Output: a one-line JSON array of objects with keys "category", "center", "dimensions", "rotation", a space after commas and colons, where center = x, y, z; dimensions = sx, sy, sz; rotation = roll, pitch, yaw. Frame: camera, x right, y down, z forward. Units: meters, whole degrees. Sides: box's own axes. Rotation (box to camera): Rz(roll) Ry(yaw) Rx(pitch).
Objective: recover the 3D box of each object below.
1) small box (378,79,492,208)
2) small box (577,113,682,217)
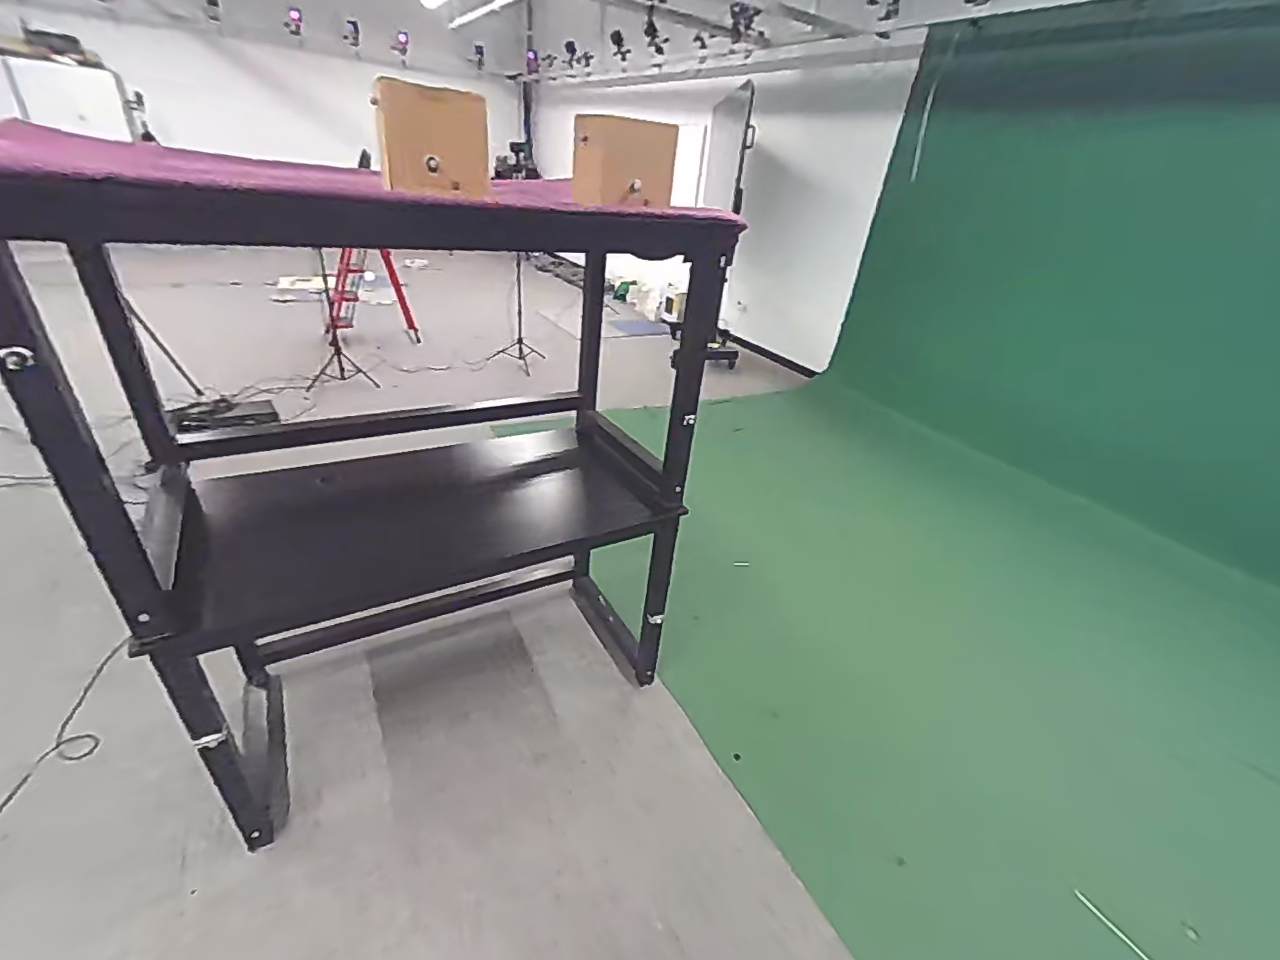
[{"category": "small box", "center": [-0.369, -0.597, 0.974], "dimensions": [0.168, 0.176, 0.179], "rotation": [-9, 33, -25]}, {"category": "small box", "center": [-0.032, -0.666, 1.149], "dimensions": [0.168, 0.176, 0.179], "rotation": [-10, 35, -24]}]
